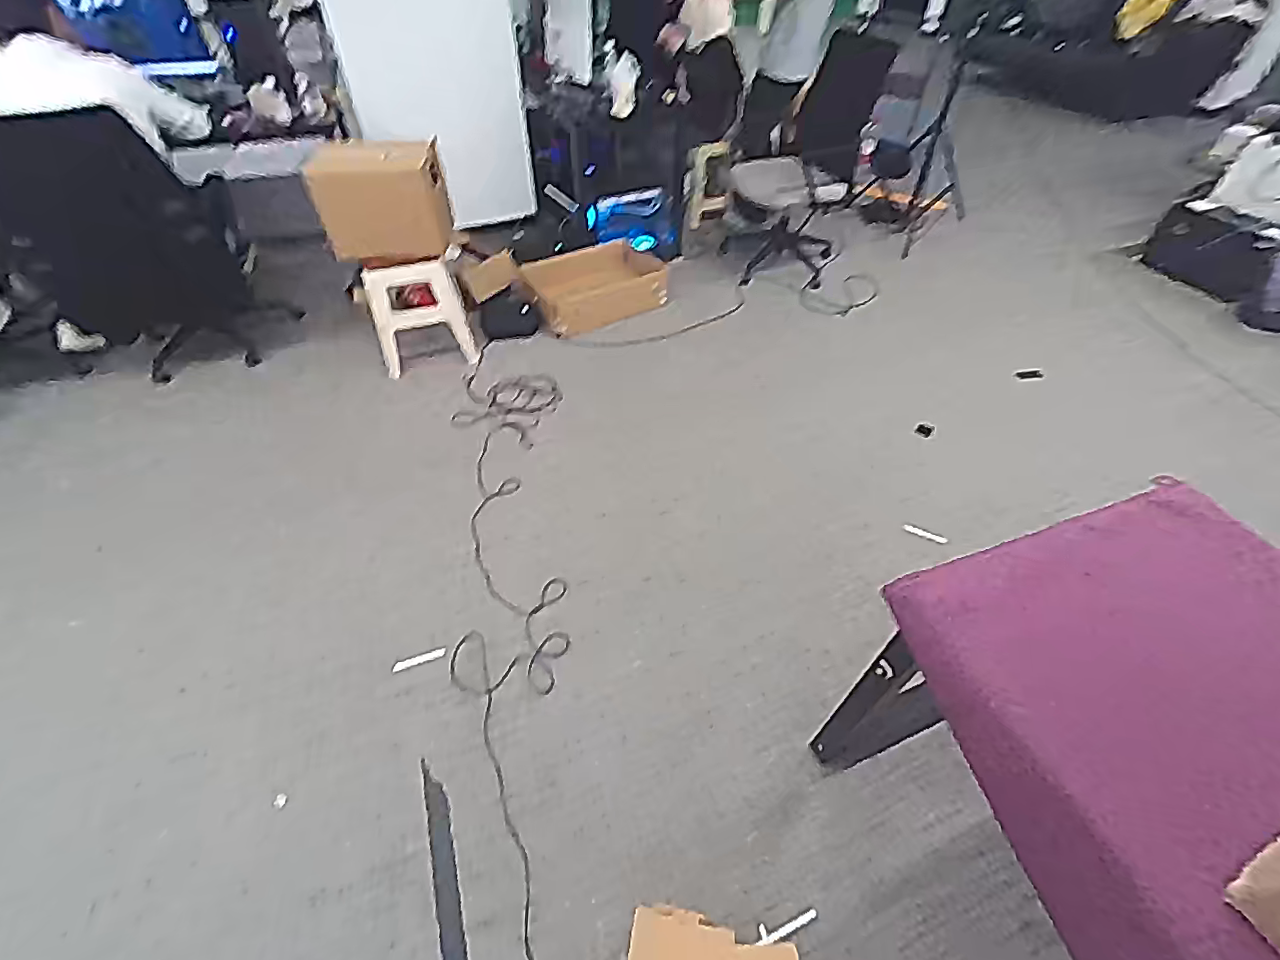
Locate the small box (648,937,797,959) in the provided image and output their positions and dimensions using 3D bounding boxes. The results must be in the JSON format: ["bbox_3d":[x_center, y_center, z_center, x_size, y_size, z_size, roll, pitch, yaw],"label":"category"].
[{"bbox_3d":[0.096,0.618,0.542,0.168,0.176,0.179,-2,9,-1],"label":"small box"}]

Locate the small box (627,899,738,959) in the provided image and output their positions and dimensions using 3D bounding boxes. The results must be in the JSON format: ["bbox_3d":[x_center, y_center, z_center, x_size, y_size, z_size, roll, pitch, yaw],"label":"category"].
[{"bbox_3d":[0.058,0.813,0.873,0.168,0.176,0.179,9,48,8],"label":"small box"}]
